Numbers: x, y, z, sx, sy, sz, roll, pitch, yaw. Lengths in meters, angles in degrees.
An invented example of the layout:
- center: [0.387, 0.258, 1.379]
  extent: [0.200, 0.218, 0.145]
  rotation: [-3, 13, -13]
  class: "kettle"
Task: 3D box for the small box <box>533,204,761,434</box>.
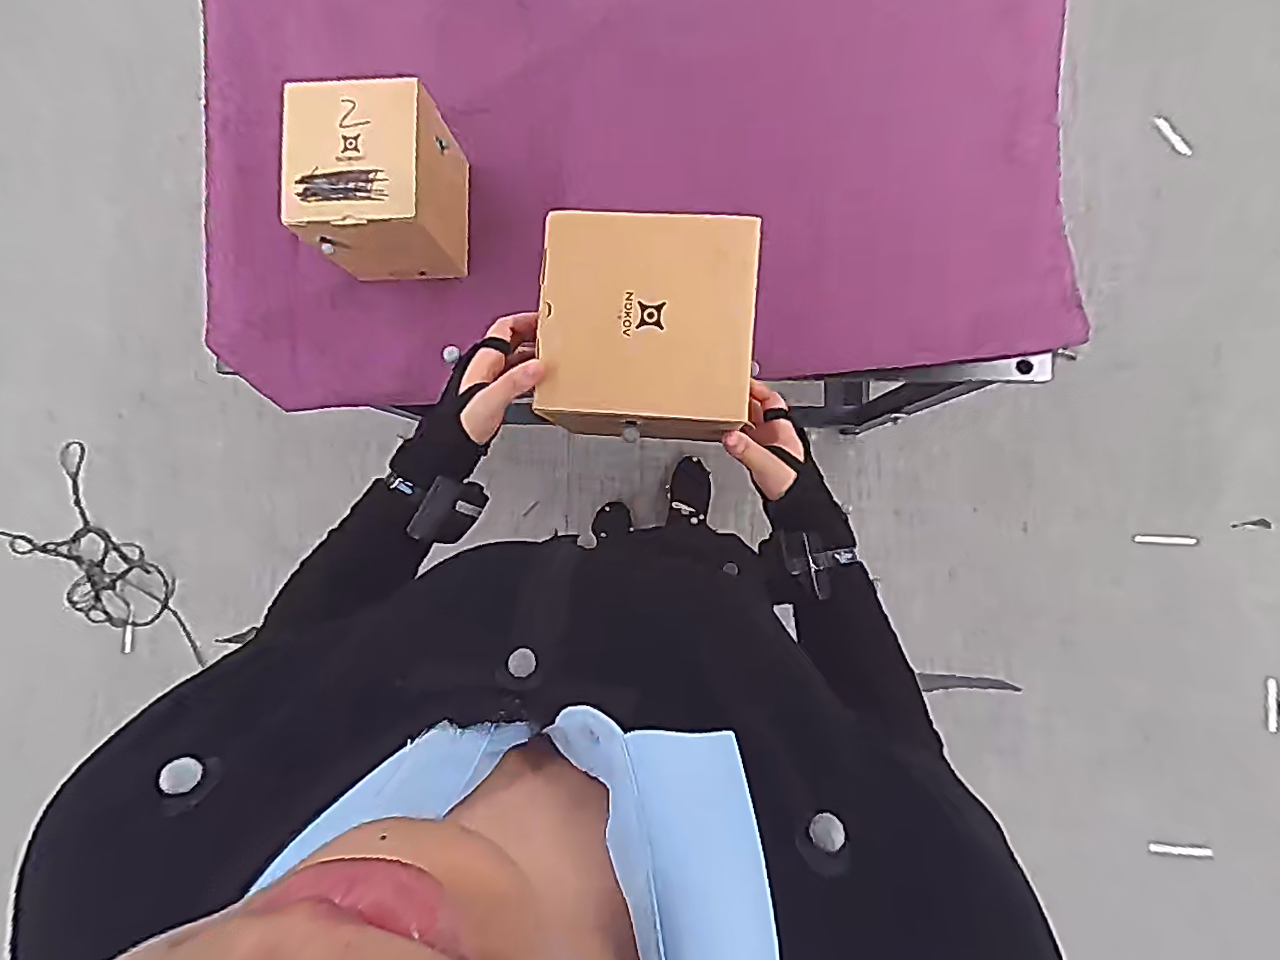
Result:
- center: [0.010, -0.135, 0.511]
  extent: [0.179, 0.176, 0.168]
  rotation: [3, 89, 5]
  class: "small box"
